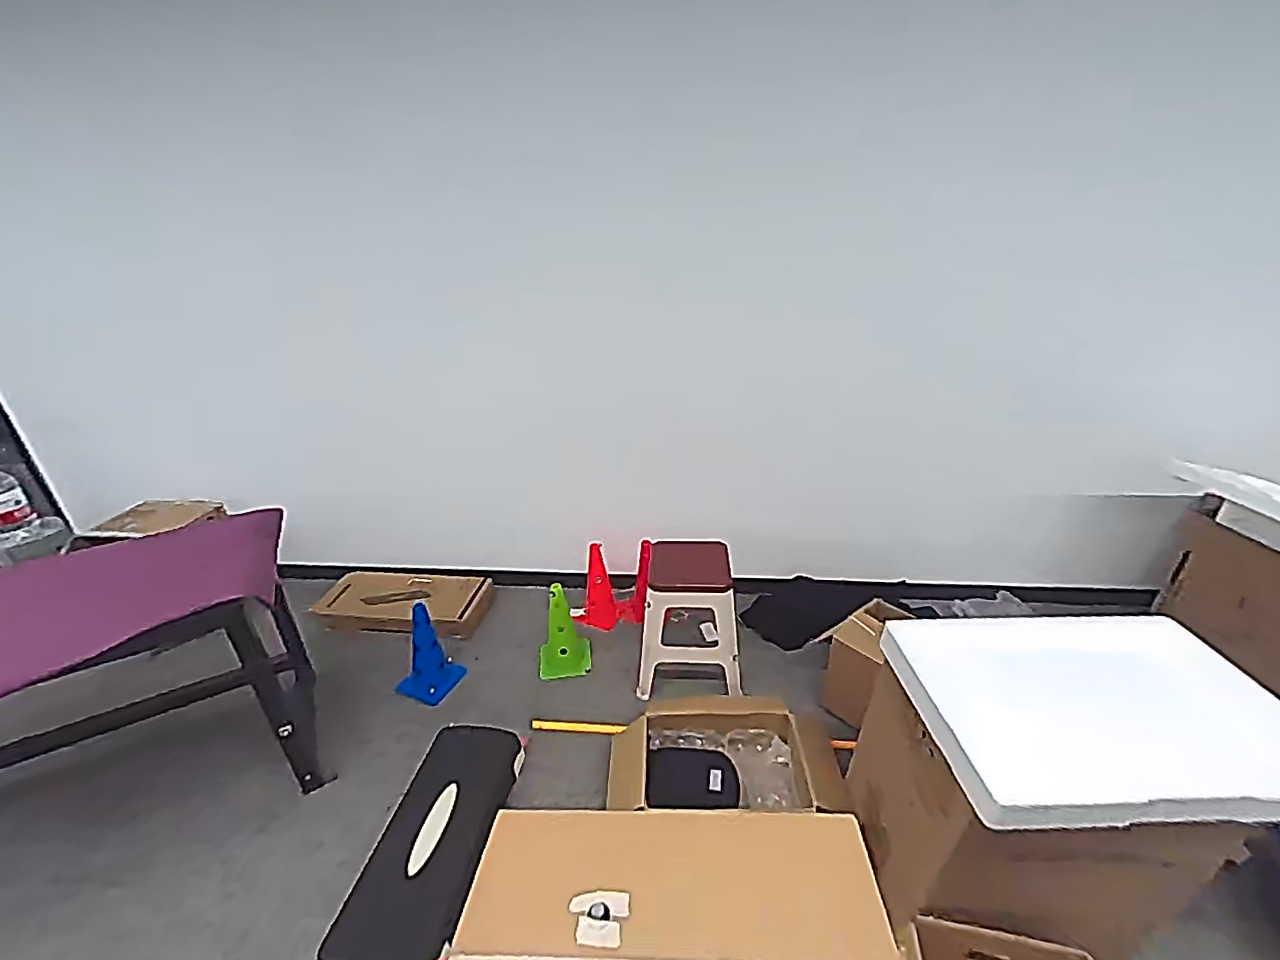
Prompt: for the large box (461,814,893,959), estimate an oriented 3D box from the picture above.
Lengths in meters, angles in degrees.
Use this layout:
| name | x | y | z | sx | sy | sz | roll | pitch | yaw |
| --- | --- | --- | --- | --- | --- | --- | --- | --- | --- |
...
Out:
| name | x | y | z | sx | sy | sz | roll | pitch | yaw |
| --- | --- | --- | --- | --- | --- | --- | --- | --- | --- |
| large box | 0.043 | 0.582 | 0.532 | 0.408 | 0.320 | 0.320 | -4 | 21 | 5 |
